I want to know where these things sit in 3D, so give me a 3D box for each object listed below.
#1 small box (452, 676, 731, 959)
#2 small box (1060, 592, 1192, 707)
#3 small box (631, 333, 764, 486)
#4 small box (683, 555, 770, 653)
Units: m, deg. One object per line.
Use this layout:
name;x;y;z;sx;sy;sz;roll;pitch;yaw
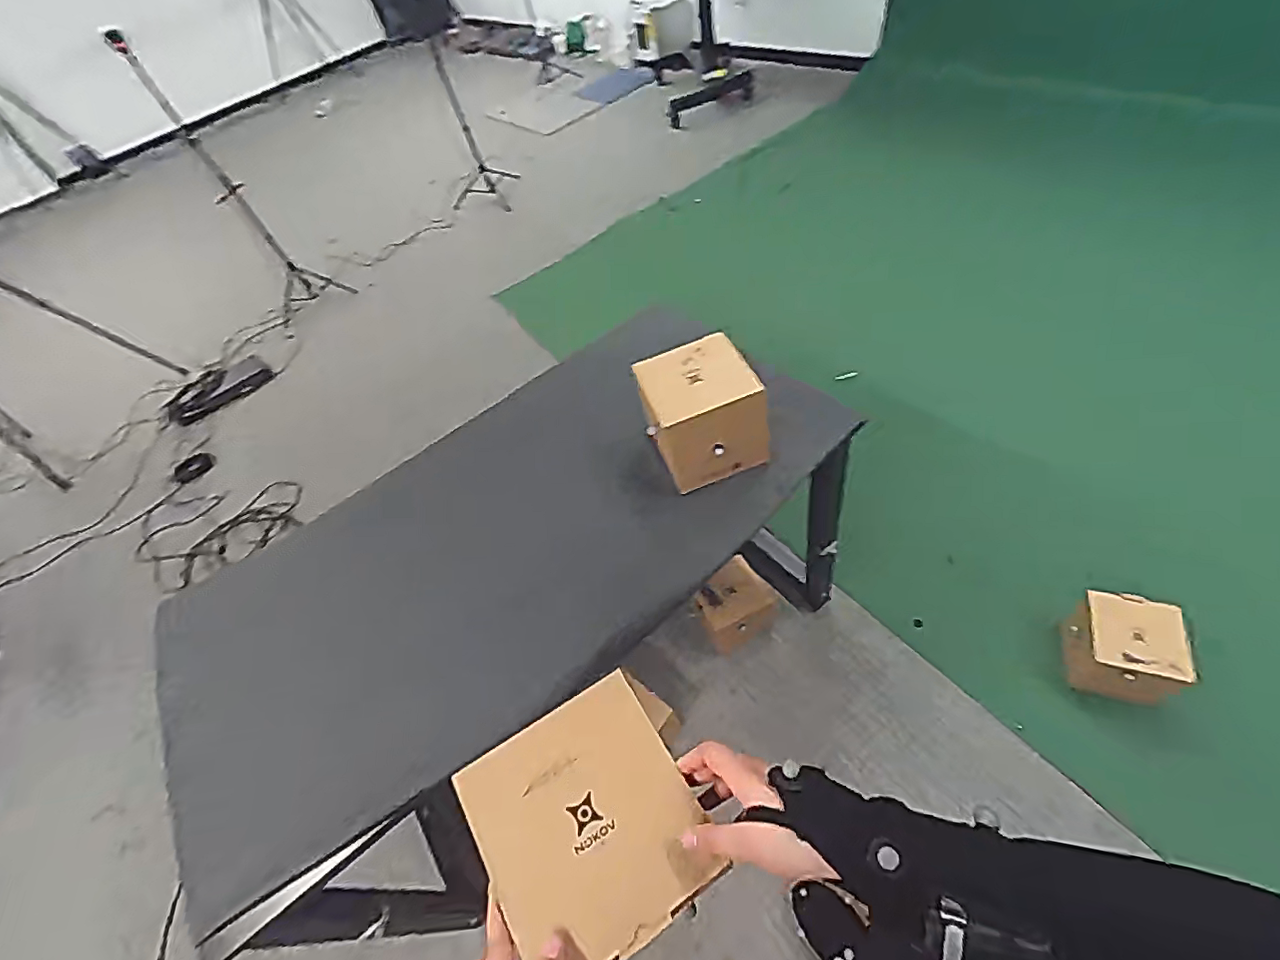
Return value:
small box;-0.040;0.313;0.491;0.168;0.176;0.179;-27;60;-17
small box;1.080;0.384;1.222;0.168;0.176;0.179;9;55;21
small box;0.100;-0.110;0.915;0.168;0.176;0.179;-21;48;-2
small box;0.239;0.342;1.473;0.179;0.176;0.168;-26;51;-8
